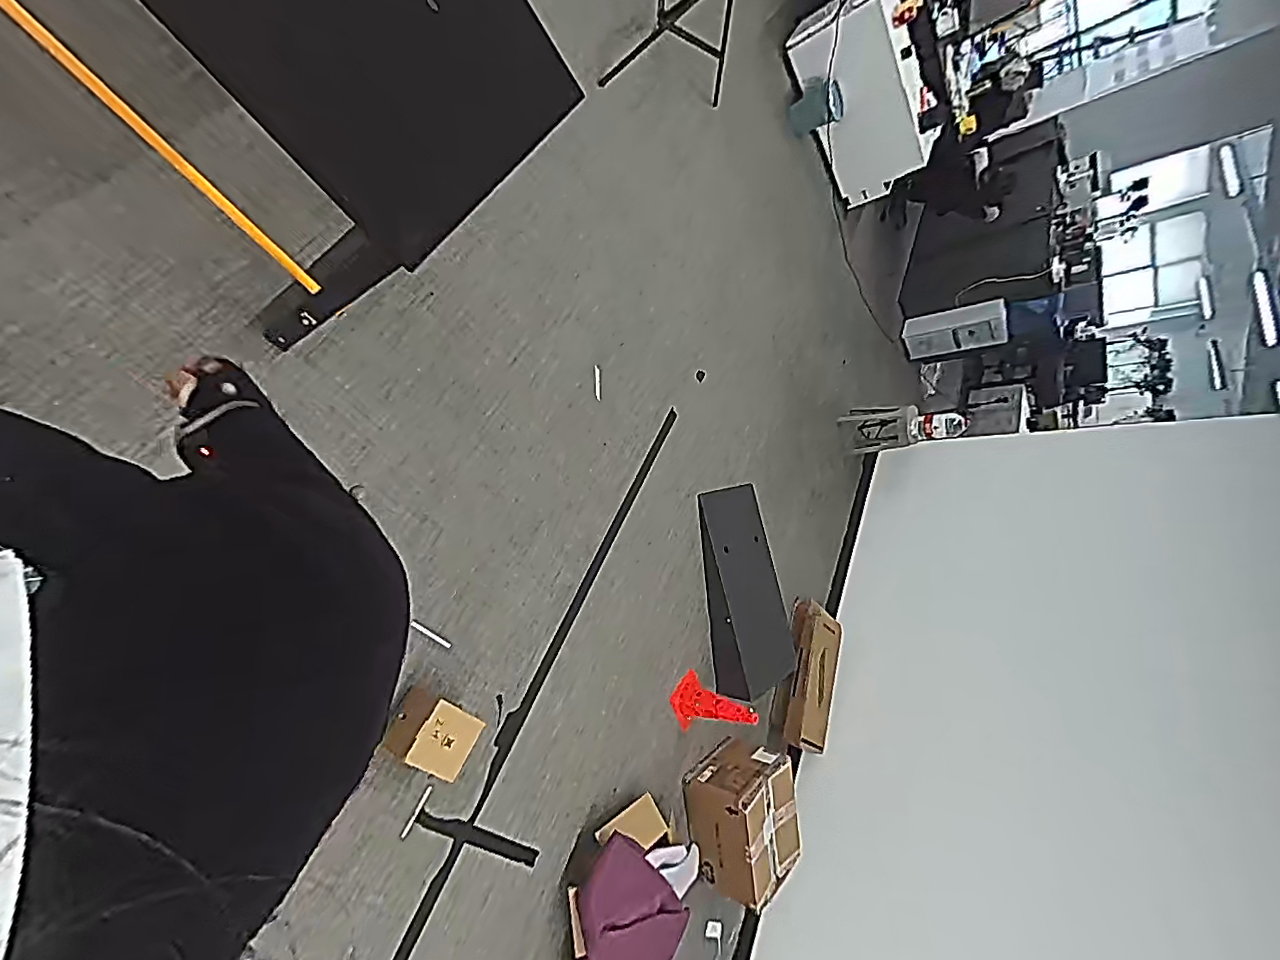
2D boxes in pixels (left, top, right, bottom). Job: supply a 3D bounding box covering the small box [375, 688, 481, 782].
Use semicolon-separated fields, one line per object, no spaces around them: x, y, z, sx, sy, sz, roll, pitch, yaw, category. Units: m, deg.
-0.585;0.695;1.492;0.179;0.176;0.168;50;54;-33;small box
